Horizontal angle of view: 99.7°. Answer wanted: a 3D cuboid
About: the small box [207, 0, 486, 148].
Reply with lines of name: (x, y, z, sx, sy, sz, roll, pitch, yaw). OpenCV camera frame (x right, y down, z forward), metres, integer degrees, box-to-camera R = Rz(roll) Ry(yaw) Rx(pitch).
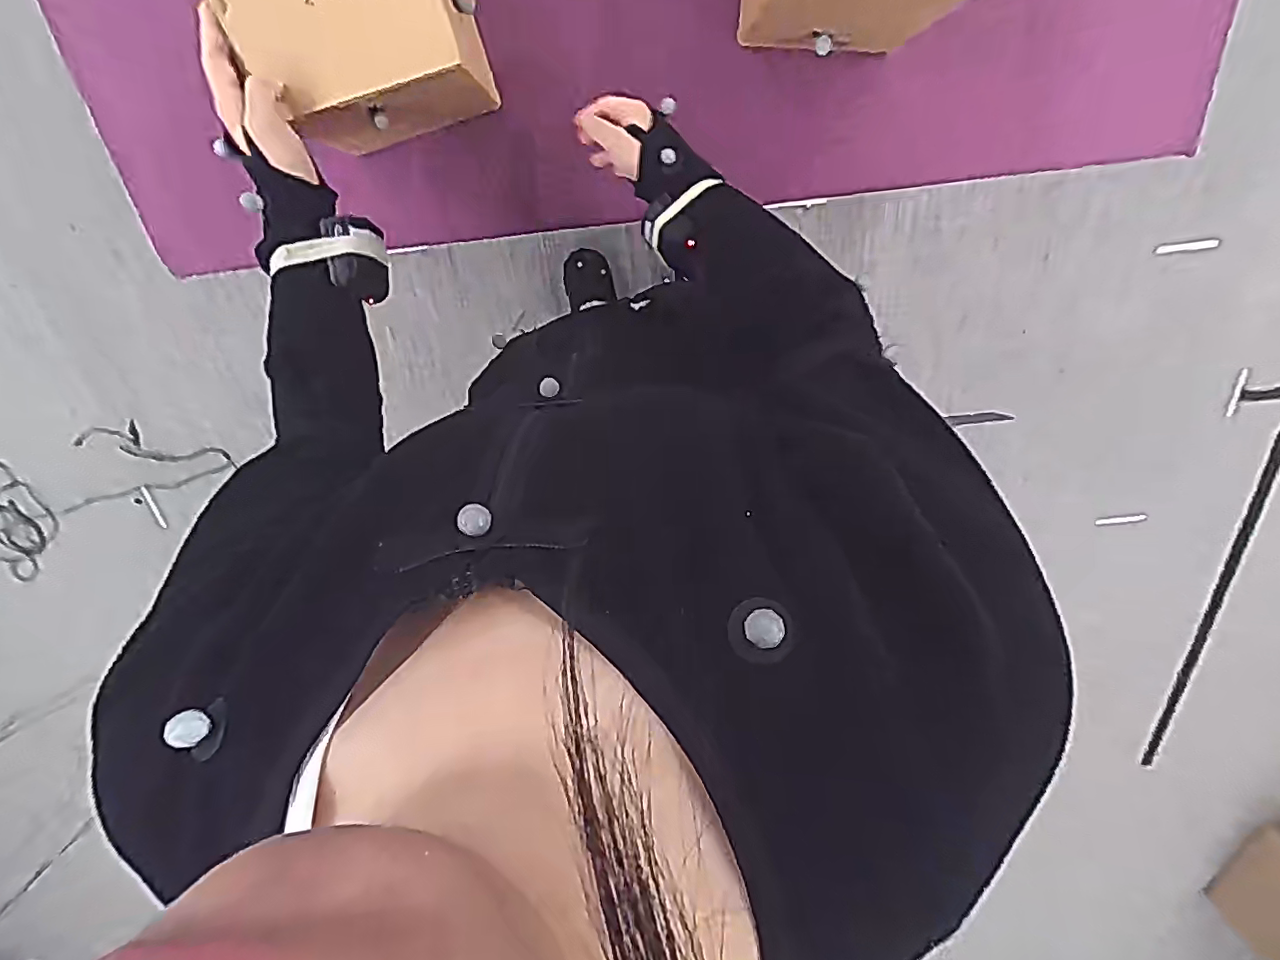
small box: (-0.253, -0.422, 0.487, 0.179, 0.176, 0.168, -14, 115, 5)

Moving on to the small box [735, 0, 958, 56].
small box: (0.184, -0.501, 0.464, 0.168, 0.176, 0.179, 1, 115, -2)
